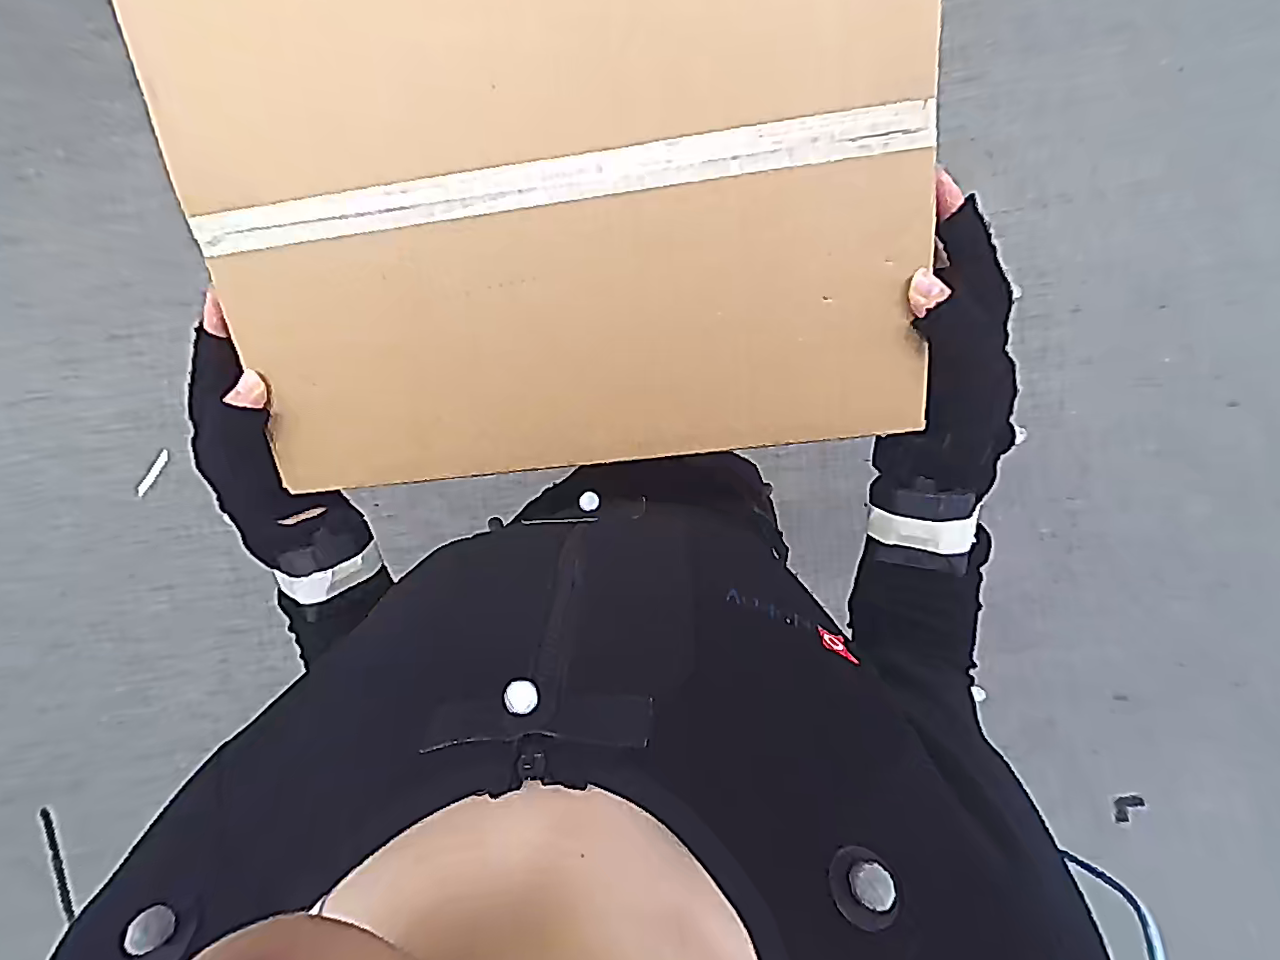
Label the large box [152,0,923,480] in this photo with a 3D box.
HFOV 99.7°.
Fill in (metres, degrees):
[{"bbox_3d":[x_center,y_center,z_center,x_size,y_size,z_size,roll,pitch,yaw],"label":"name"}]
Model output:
[{"bbox_3d":[-0.042,-0.210,0.445,0.408,0.320,0.320,-6,108,5],"label":"large box"}]
